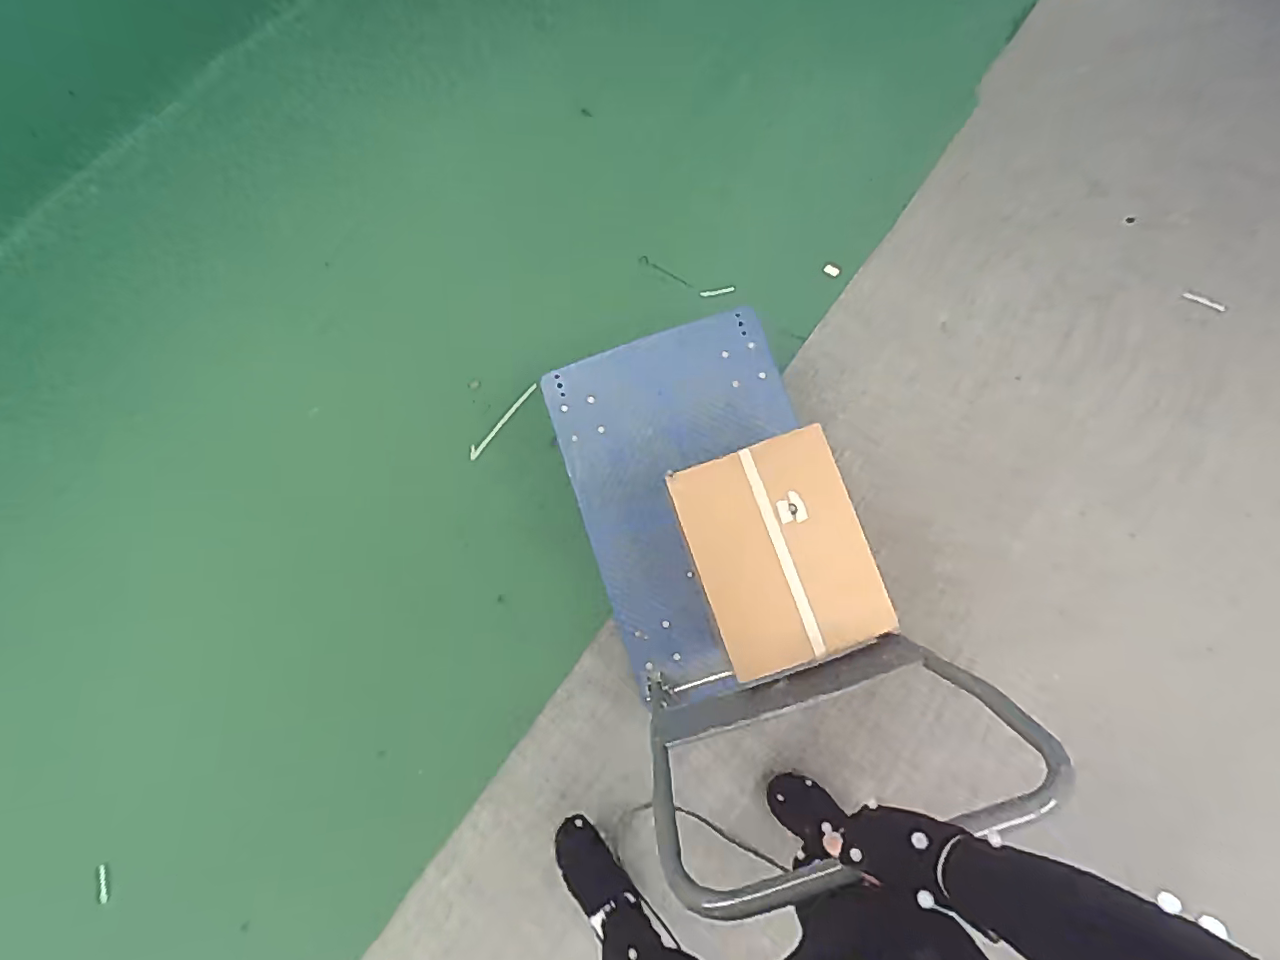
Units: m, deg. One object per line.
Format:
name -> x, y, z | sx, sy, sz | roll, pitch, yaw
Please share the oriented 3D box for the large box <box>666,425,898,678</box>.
large box -> 0.270, 0.146, 1.159 | 0.320, 0.320, 0.408 | -21, 83, -1
